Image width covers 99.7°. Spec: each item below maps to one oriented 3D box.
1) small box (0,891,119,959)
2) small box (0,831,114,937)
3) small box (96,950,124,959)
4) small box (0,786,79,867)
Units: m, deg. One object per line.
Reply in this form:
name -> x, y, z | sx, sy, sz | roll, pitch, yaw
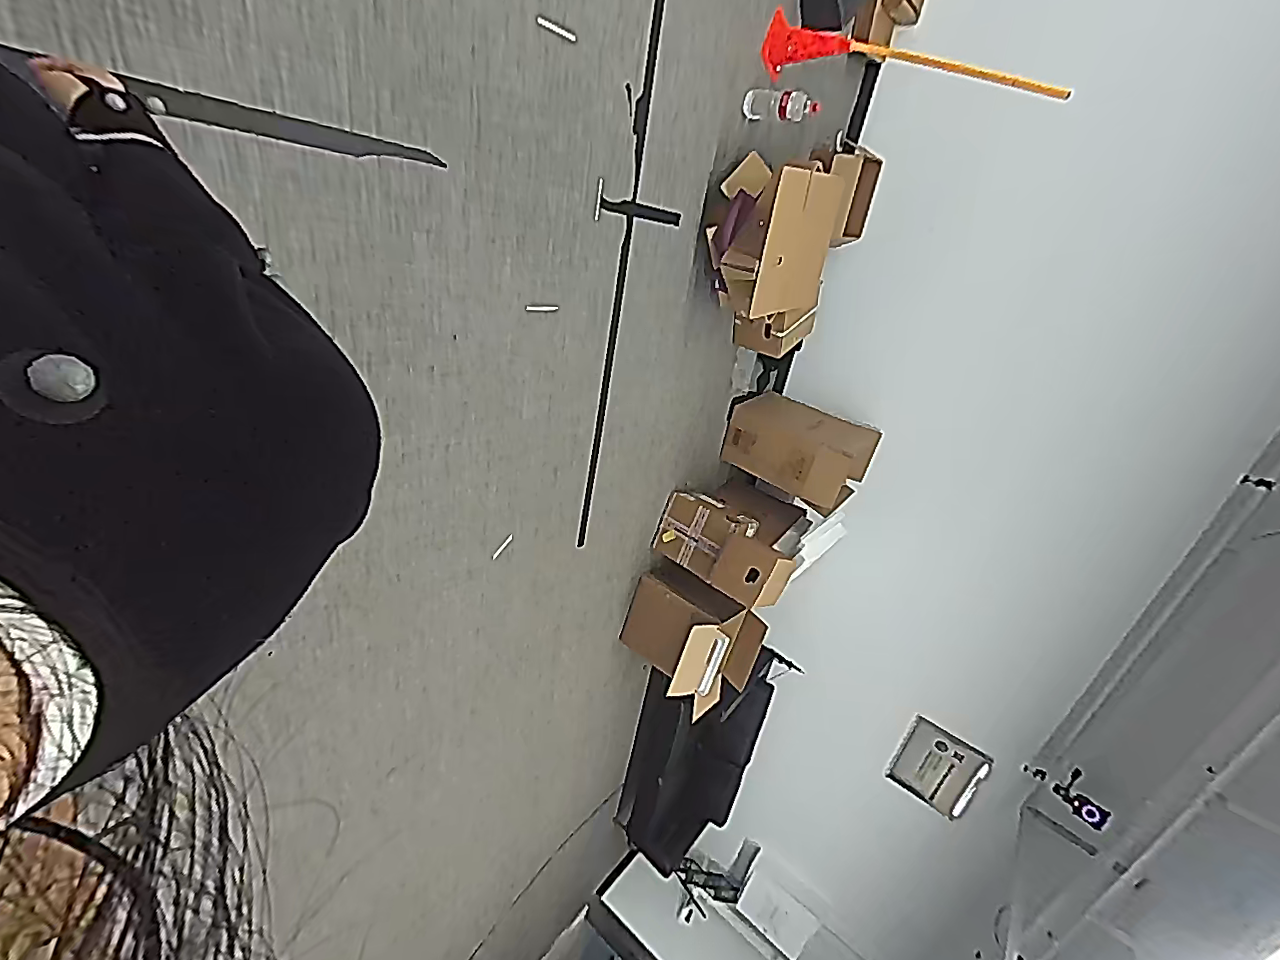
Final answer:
small box -> -1.221, 1.019, 1.133 | 0.168, 0.176, 0.179 | -21, 129, -50
small box -> -1.342, 0.950, 1.218 | 0.179, 0.176, 0.168 | -20, 129, -51
small box -> -1.092, 1.085, 1.056 | 0.168, 0.176, 0.179 | -22, 132, -50
small box -> -1.475, 0.890, 1.294 | 0.179, 0.176, 0.168 | -23, 132, -49
